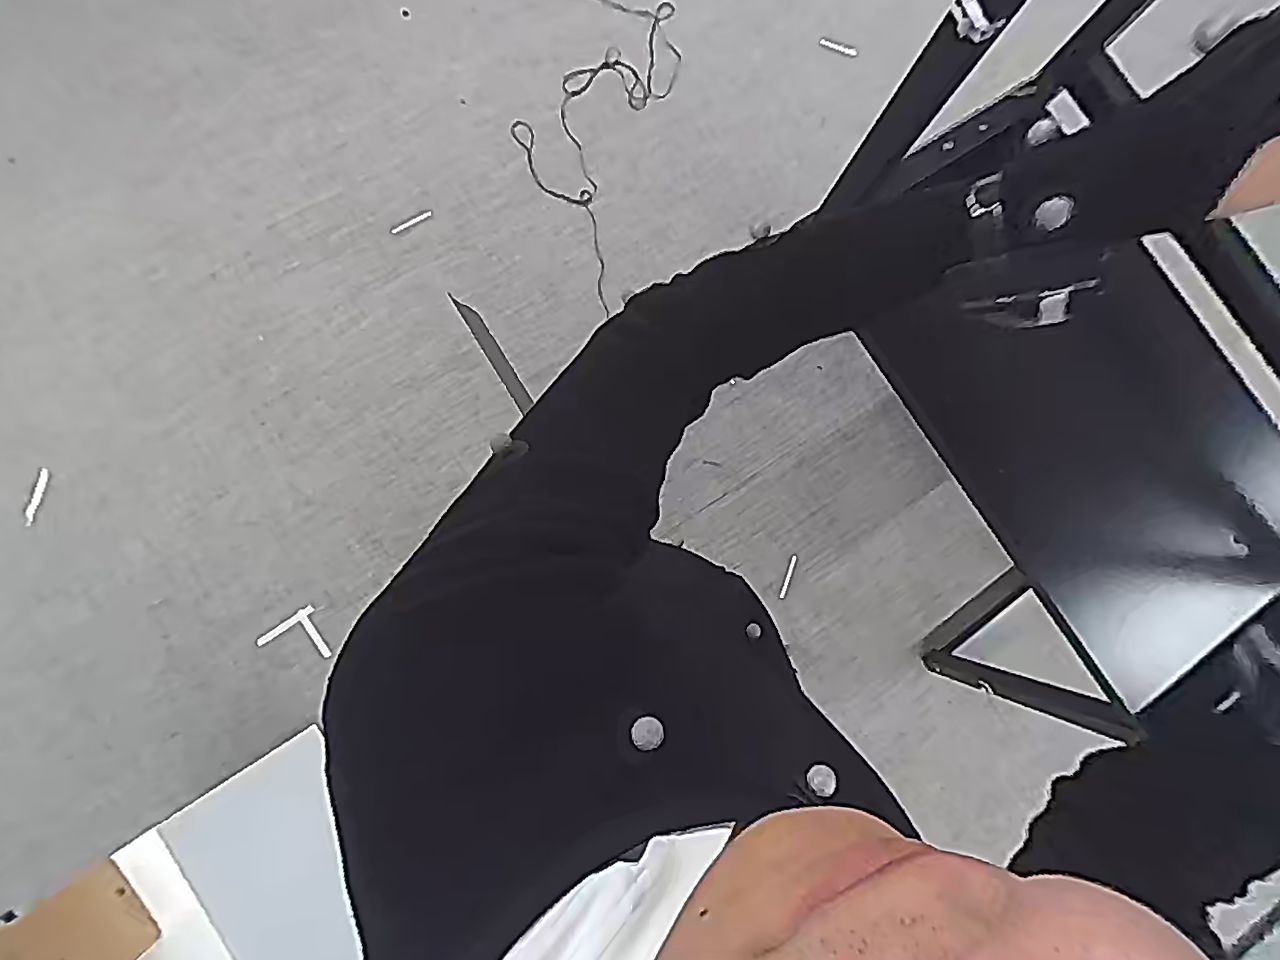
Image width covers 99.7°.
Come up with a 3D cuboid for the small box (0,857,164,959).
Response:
[{"bbox_3d":[-0.920,0.752,0.842,0.179,0.176,0.168,-36,89,-7],"label":"small box"}]
